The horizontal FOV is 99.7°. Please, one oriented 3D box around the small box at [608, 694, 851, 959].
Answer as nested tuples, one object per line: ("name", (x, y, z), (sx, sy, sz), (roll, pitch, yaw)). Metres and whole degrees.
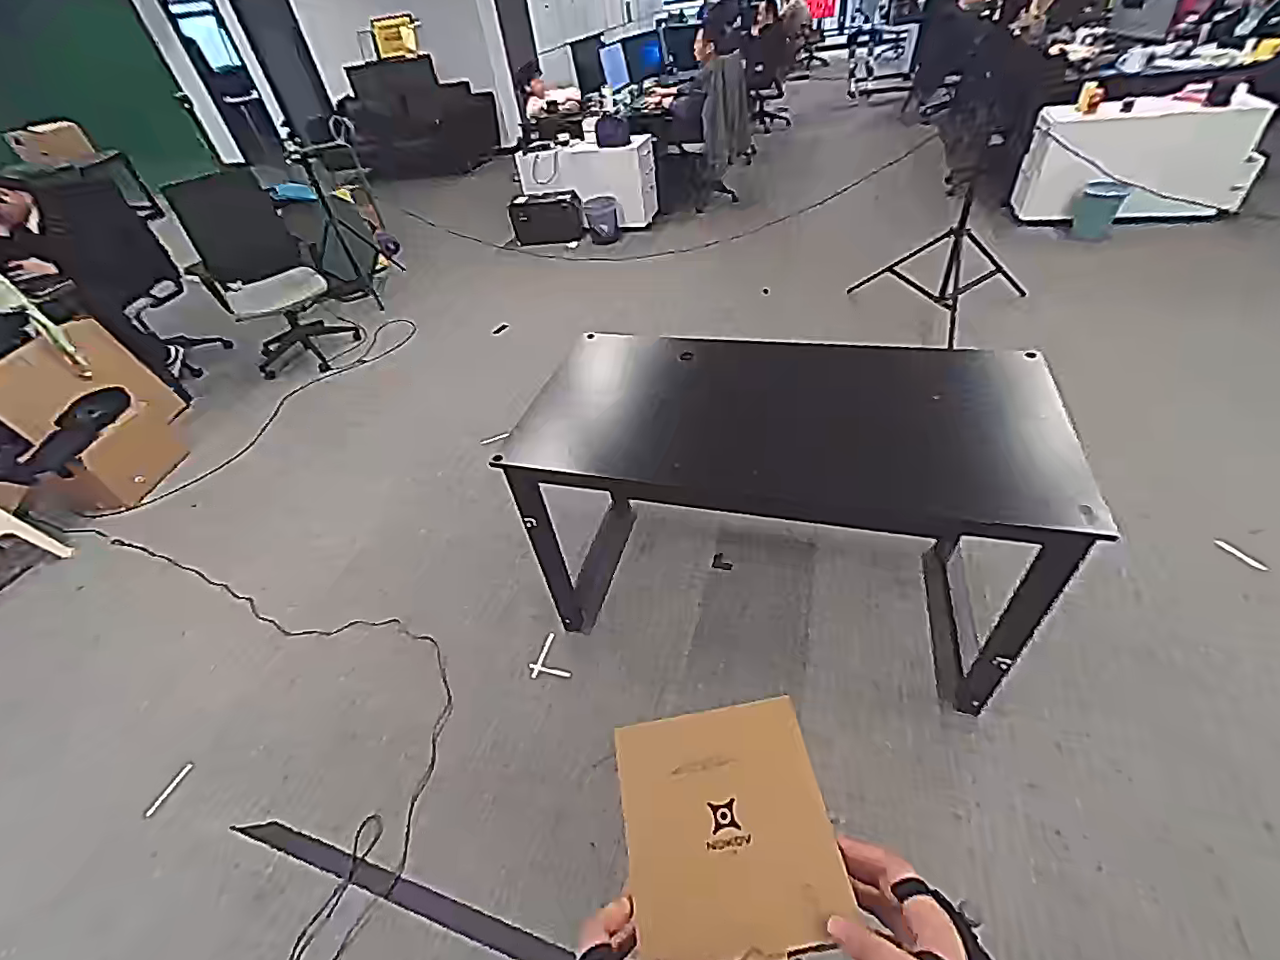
("small box", (0.071, 0.328, 0.500), (0.168, 0.176, 0.179), (-11, 48, -2))
